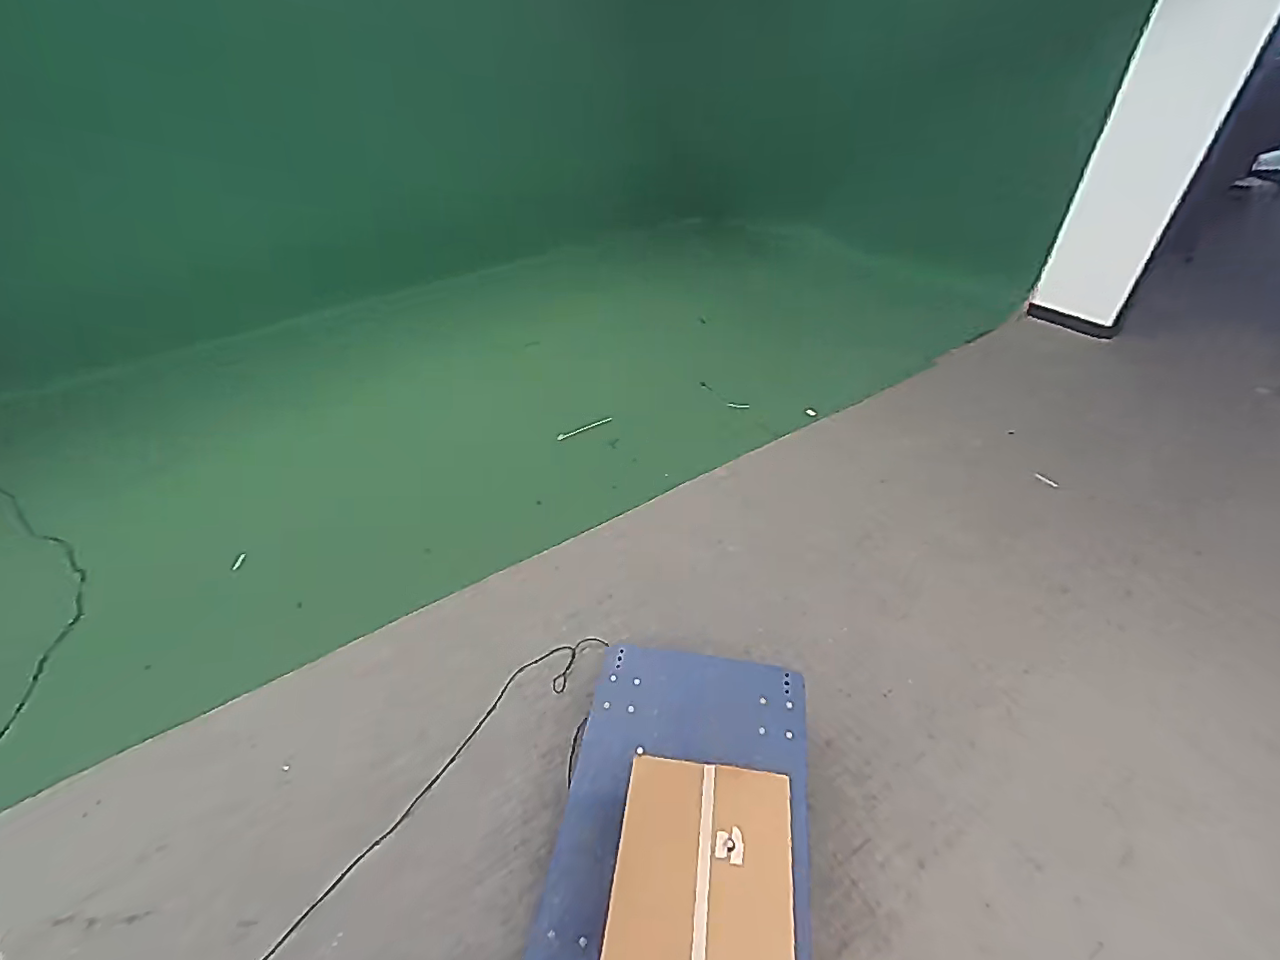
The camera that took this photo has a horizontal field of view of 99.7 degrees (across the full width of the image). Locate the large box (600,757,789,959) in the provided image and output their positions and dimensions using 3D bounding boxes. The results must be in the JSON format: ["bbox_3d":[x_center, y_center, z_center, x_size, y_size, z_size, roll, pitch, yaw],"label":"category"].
[{"bbox_3d":[0.117,0.833,1.071,0.320,0.320,0.408,4,44,9],"label":"large box"}]
